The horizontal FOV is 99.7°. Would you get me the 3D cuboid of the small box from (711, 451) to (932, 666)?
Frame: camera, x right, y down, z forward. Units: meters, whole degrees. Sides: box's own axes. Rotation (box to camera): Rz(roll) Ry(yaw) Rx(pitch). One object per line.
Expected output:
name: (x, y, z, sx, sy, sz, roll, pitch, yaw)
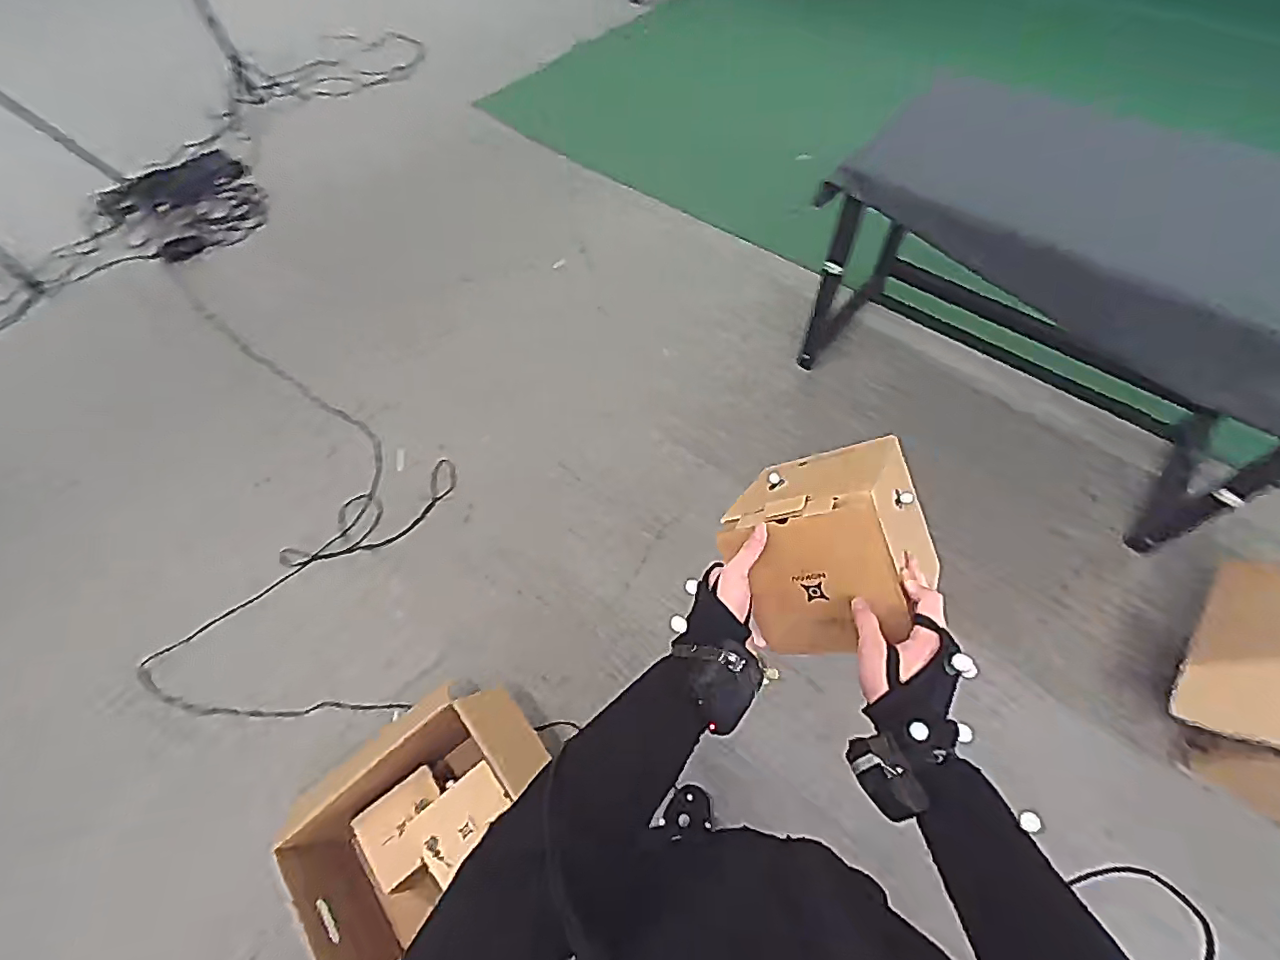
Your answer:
small box: (0.210, 0.080, 0.604, 0.168, 0.179, 0.176, -18, 12, 37)
